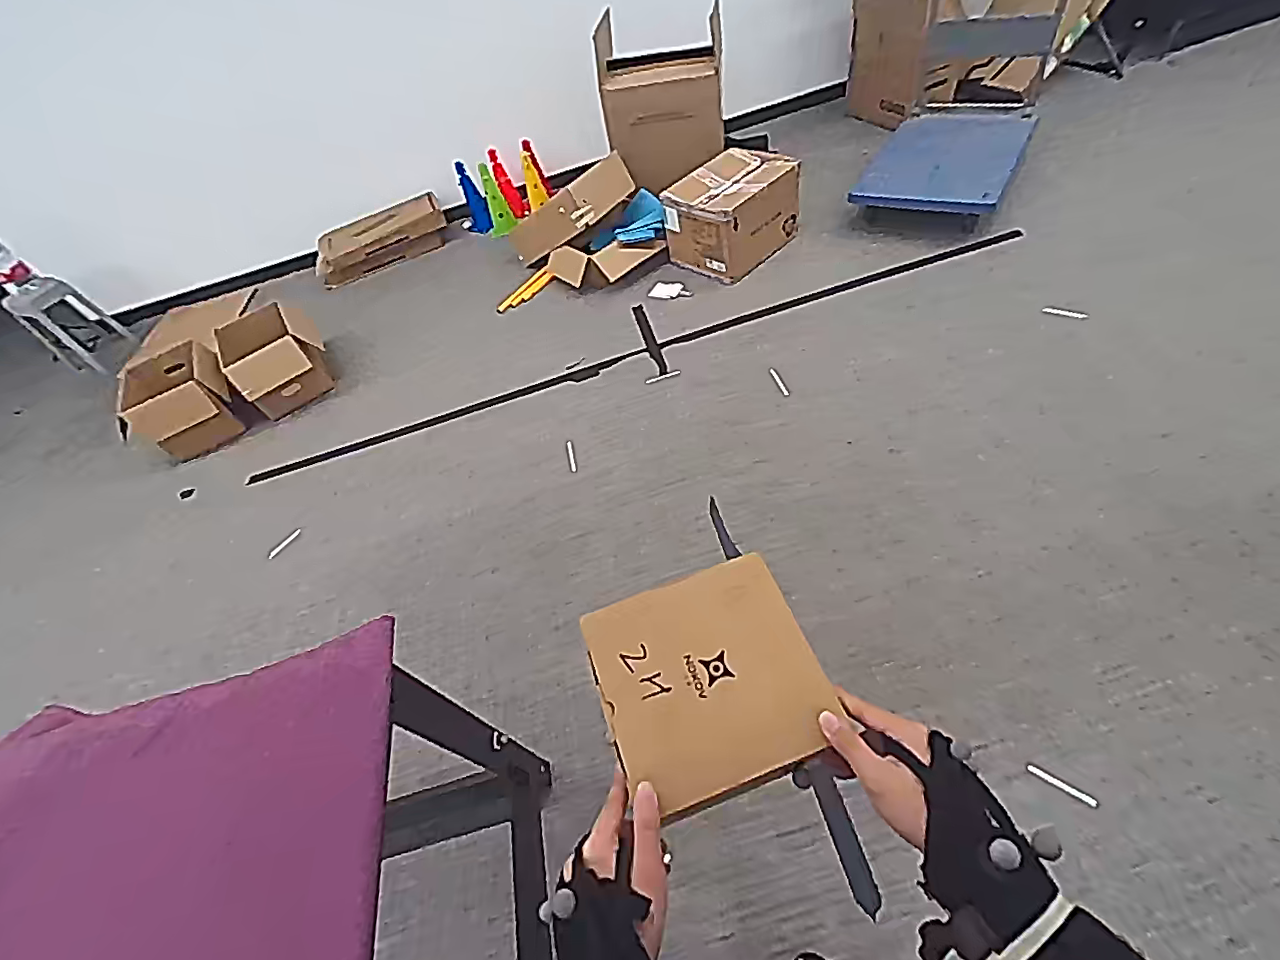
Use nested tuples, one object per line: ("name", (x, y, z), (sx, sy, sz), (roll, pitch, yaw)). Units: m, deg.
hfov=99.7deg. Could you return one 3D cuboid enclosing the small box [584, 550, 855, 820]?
("small box", (0.063, 0.195, 0.504), (0.179, 0.176, 0.168), (-19, 56, -6))
